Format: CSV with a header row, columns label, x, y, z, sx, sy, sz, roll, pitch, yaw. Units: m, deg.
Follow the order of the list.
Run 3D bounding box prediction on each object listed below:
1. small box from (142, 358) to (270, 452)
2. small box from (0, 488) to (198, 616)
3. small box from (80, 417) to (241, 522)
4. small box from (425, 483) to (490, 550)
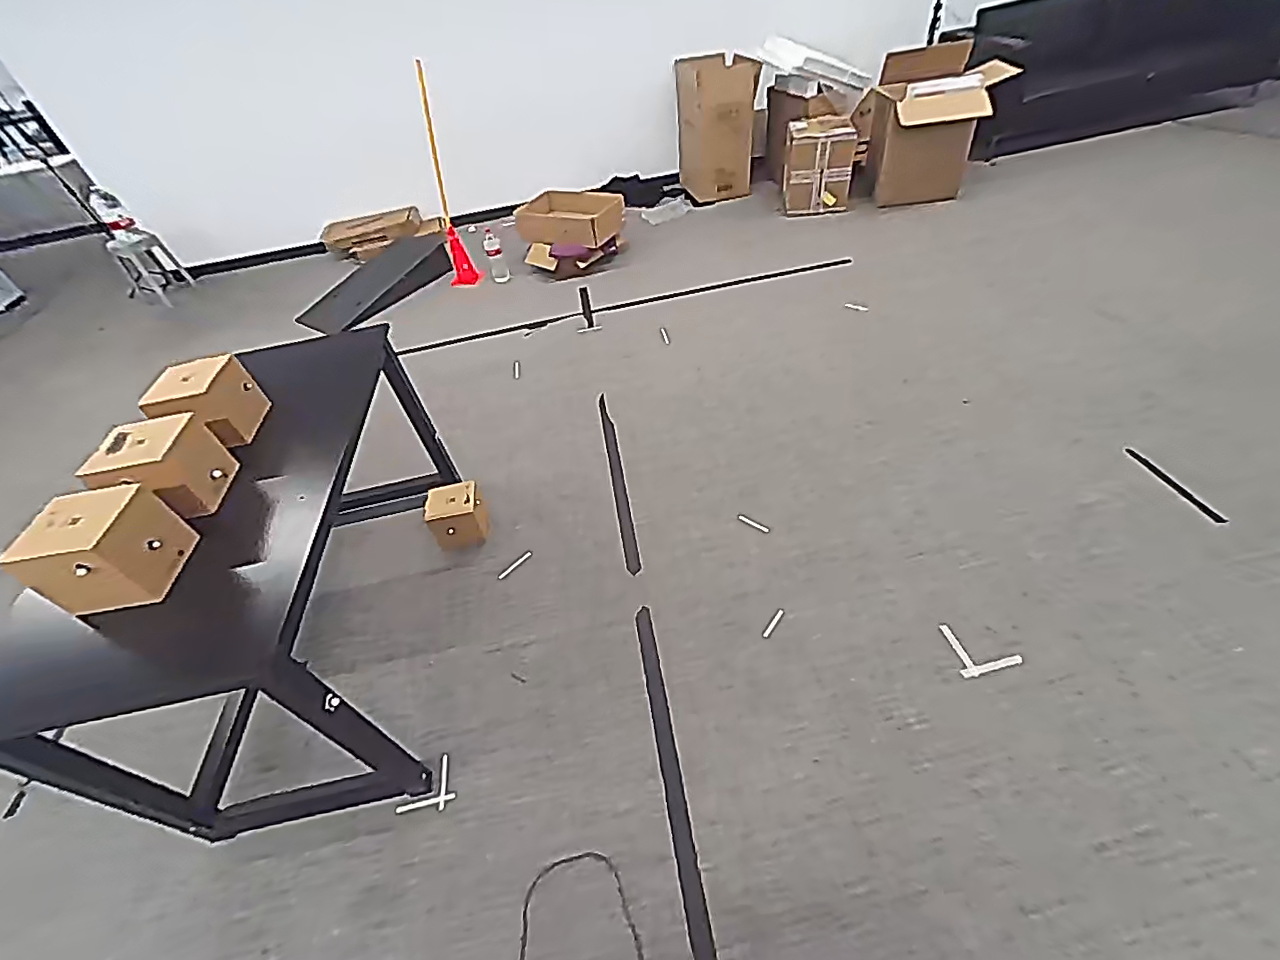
label,x,y,z,sx,sy,sz,roll,pitch,yaw
small box,-1.093,-0.182,1.383,0.168,0.176,0.179,-14,45,-1
small box,-1.021,0.141,1.045,0.179,0.176,0.168,-10,44,1
small box,-1.052,-0.013,1.205,0.179,0.176,0.168,-12,44,-3
small box,-0.677,0.141,2.020,0.179,0.176,0.168,-13,45,-2
